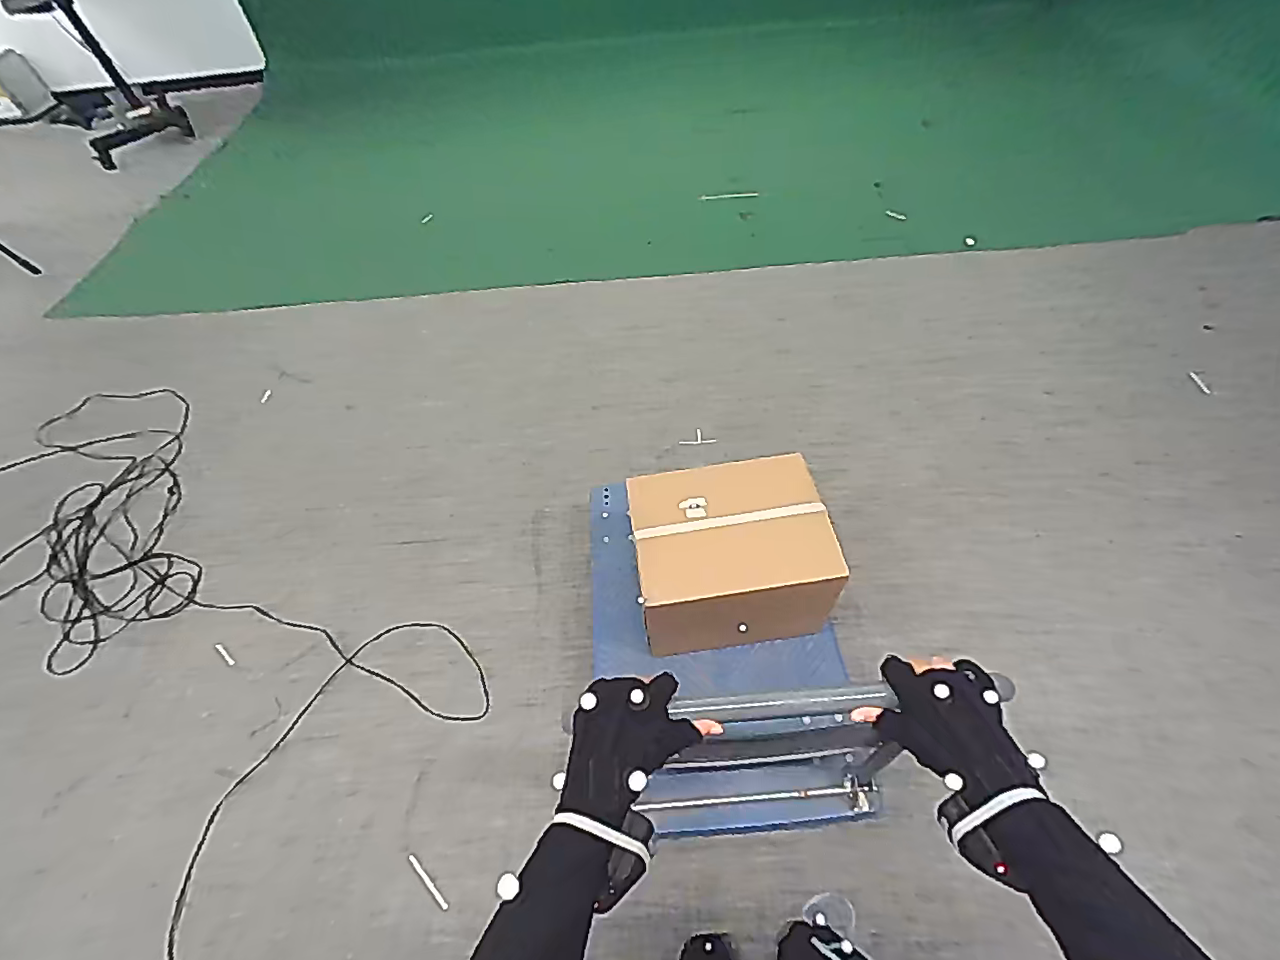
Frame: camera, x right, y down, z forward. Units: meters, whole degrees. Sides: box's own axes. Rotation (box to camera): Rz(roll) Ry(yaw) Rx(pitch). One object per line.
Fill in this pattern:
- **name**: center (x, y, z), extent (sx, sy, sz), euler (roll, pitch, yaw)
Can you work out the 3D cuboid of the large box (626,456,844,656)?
- **large box**: center (0.200, 0.186, 1.265), extent (0.408, 0.320, 0.320), euler (-10, 53, -1)
